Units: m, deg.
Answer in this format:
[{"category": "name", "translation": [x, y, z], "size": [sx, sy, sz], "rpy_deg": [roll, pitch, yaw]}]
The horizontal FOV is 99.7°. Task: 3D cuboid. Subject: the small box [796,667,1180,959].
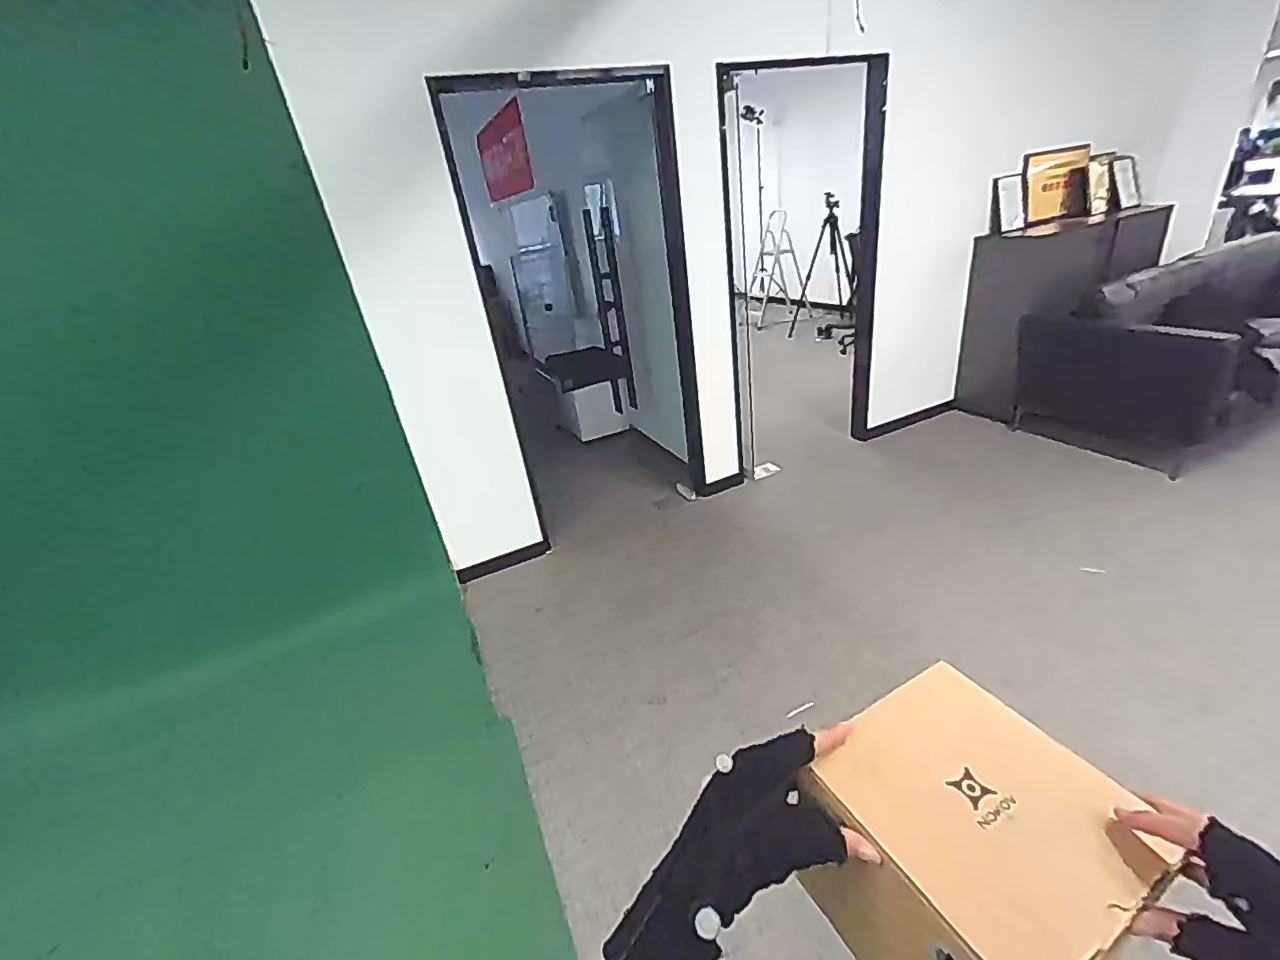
[{"category": "small box", "translation": [0.237, 0.290, 0.416], "size": [0.168, 0.176, 0.179], "rpy_deg": [-19, 31, -21]}]
